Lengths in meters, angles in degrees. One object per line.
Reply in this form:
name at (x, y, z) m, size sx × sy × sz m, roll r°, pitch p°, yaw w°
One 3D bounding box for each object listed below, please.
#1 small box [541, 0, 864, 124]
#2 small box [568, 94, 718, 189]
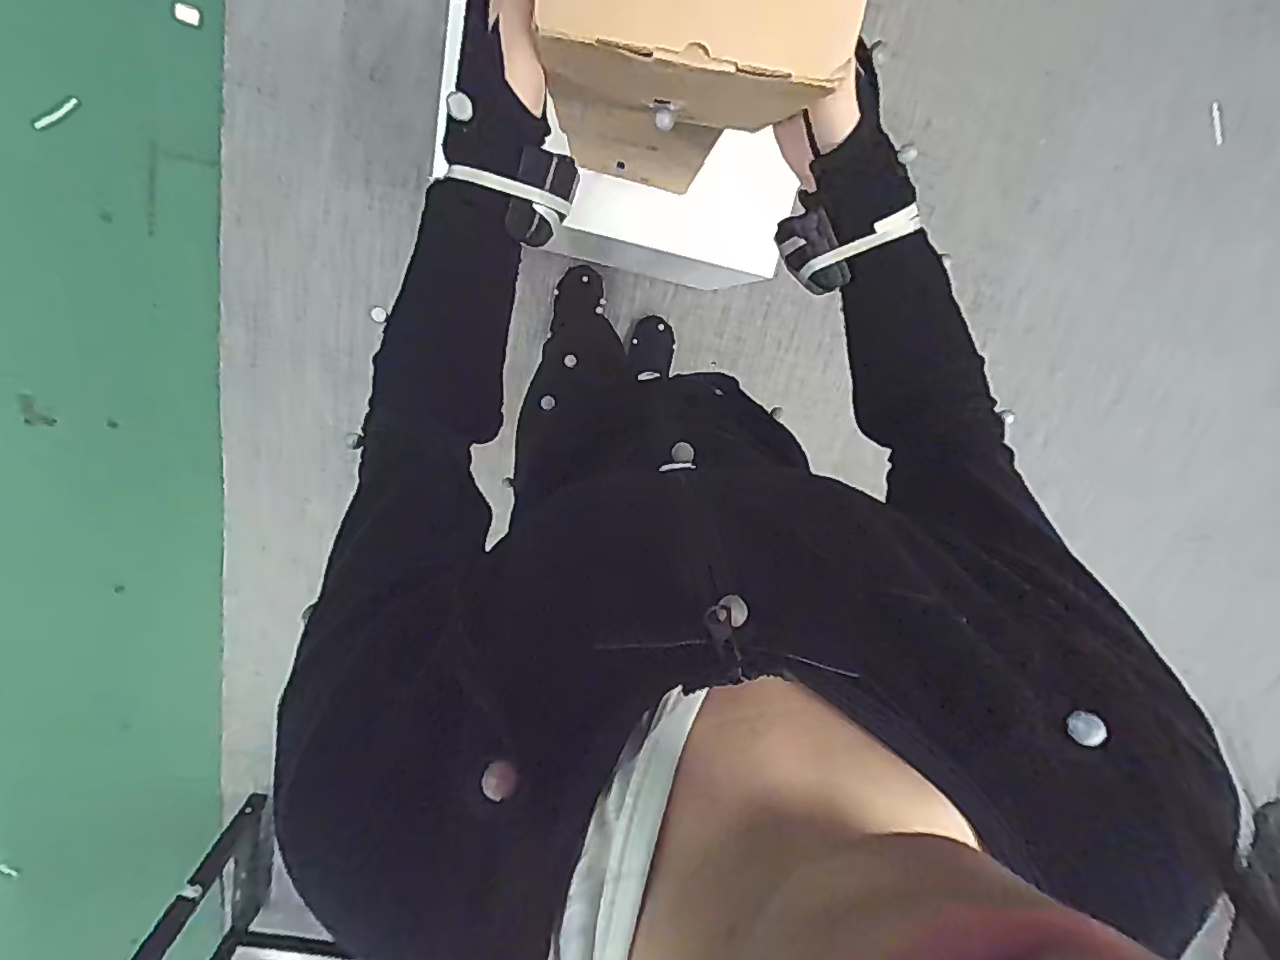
small box at (0.032, -0.332, 0.311) m, size 0.168 × 0.176 × 0.179 m, roll 4°, pitch 115°, yaw -8°
small box at (0.012, -0.482, 0.656) m, size 0.168 × 0.176 × 0.179 m, roll 11°, pitch 106°, yaw -7°
